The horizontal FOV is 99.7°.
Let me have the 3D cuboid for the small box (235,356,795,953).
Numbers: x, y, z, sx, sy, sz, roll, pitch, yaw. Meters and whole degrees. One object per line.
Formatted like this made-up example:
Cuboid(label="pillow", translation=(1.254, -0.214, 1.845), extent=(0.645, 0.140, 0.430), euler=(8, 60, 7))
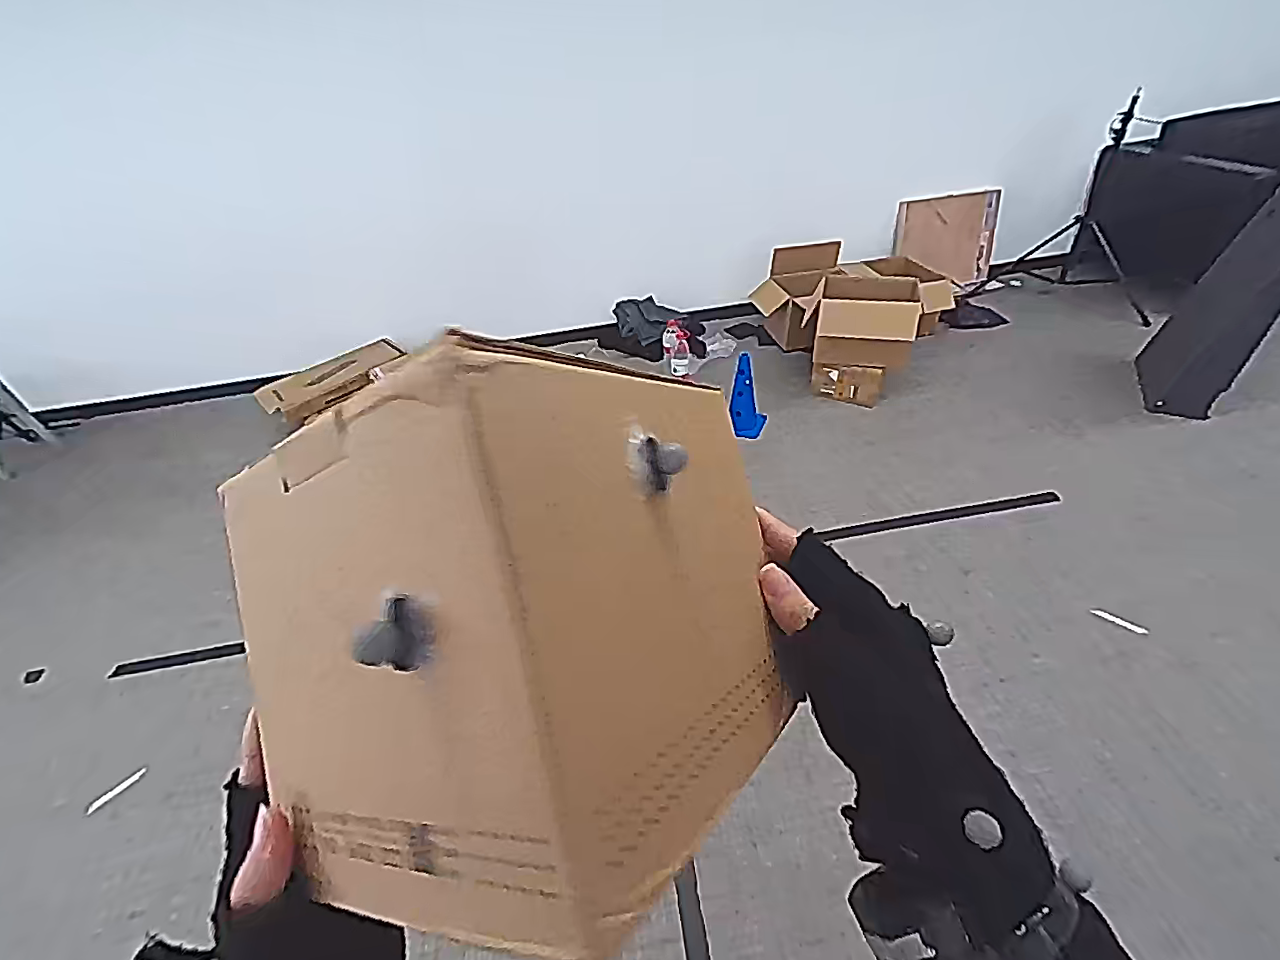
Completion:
Cuboid(label="small box", translation=(-0.043, 0.062, 0.253), extent=(0.168, 0.176, 0.179), euler=(-17, -6, 31))
